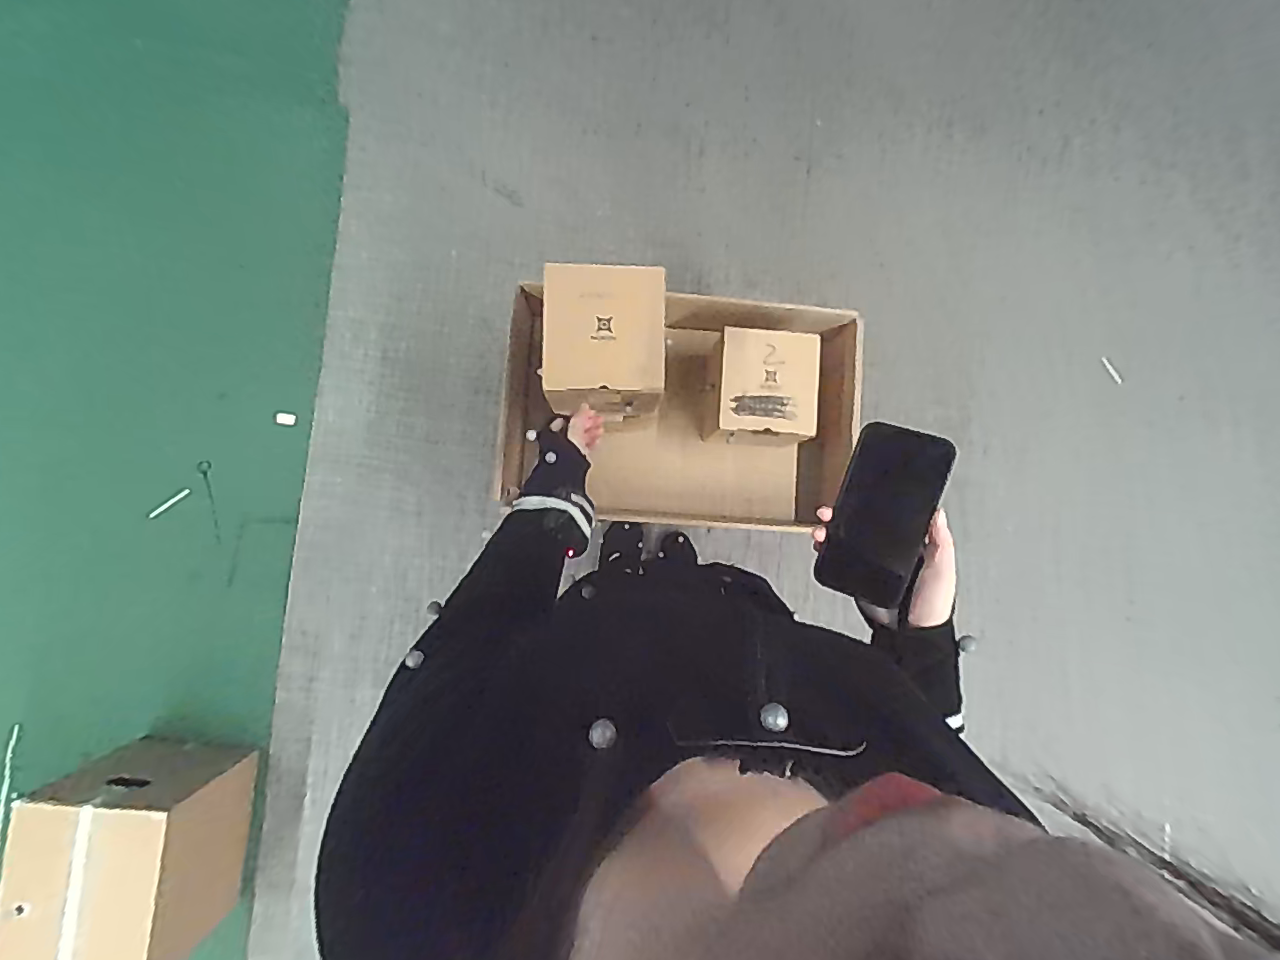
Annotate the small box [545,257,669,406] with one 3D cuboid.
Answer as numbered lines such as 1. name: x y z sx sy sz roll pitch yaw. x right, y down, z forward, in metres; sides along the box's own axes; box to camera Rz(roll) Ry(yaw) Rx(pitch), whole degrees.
1. small box: -0.046 -0.208 0.804 0.168 0.176 0.179 1 87 -3
